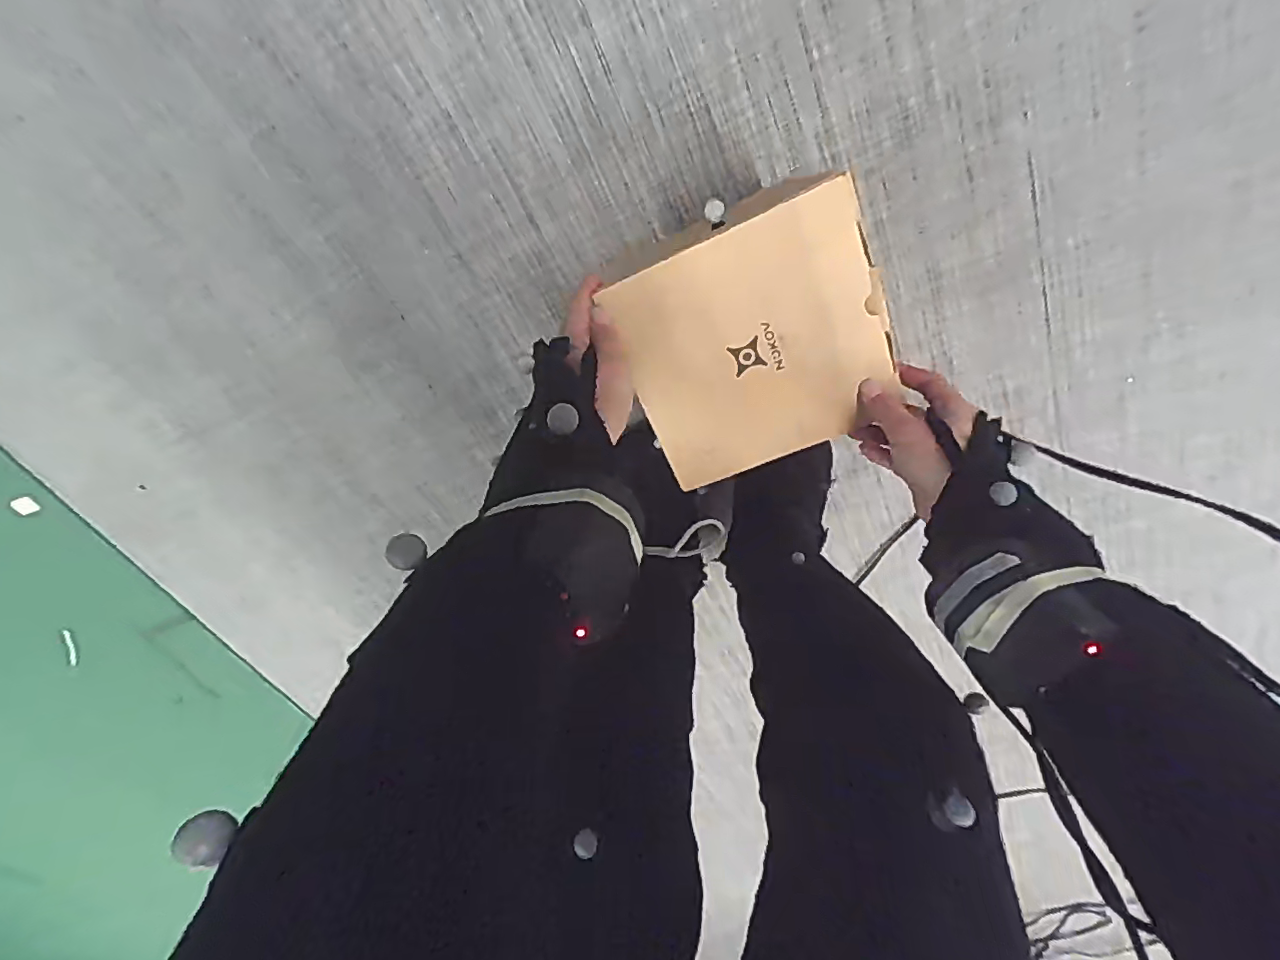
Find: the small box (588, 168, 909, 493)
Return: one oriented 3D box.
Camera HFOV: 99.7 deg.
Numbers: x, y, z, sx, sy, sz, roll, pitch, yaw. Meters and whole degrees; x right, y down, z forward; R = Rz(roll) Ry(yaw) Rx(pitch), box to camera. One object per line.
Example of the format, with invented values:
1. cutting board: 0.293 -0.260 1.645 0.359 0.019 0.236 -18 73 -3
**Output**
1. small box: 0.080 -0.120 0.433 0.179 0.176 0.168 -21 114 13
